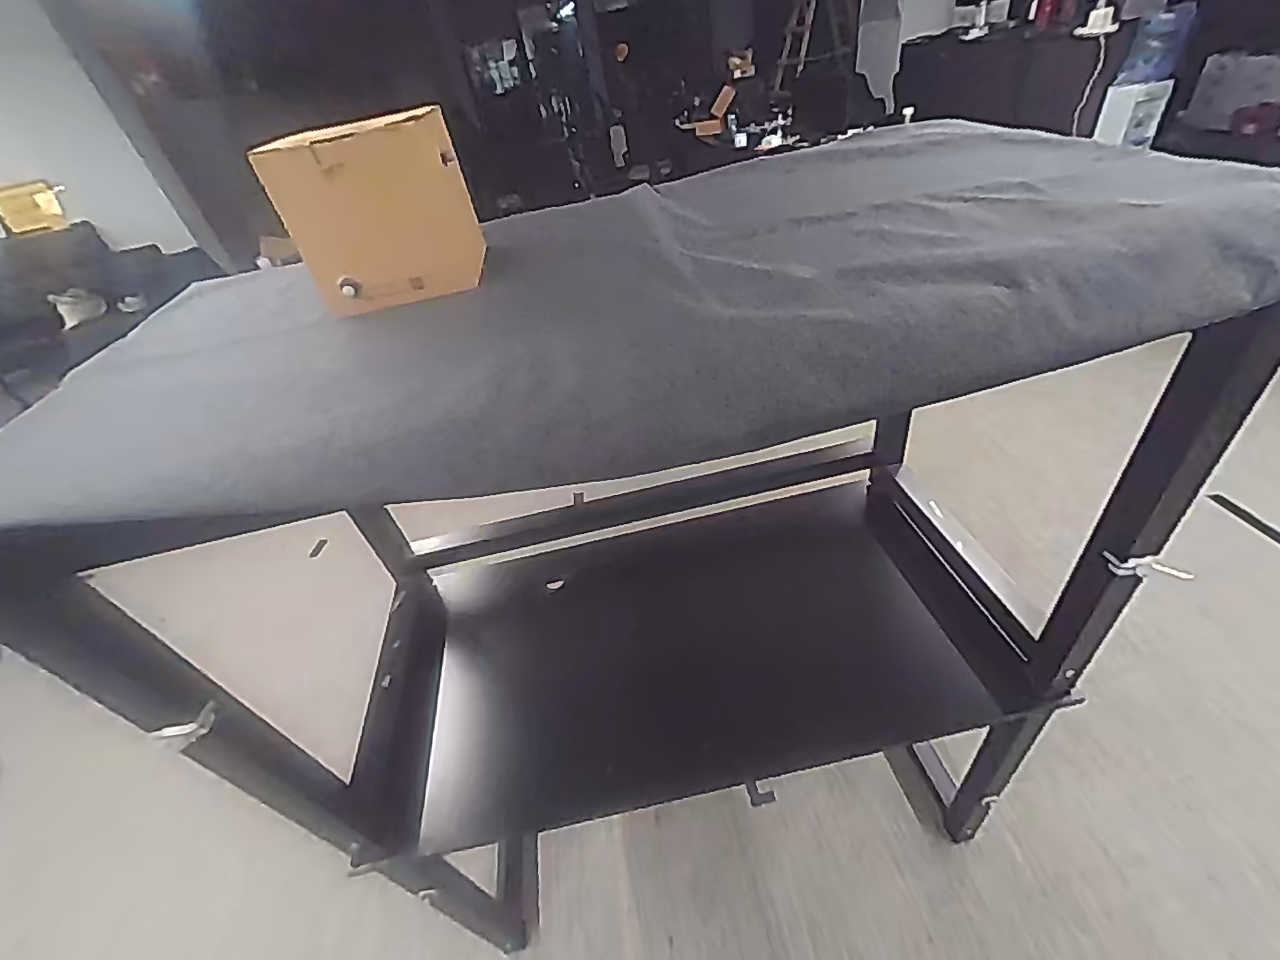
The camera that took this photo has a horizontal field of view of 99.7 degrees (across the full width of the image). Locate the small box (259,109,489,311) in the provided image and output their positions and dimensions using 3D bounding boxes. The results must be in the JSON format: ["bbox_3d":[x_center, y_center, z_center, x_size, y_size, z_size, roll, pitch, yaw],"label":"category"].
[{"bbox_3d":[-0.286,-0.311,0.632,0.168,0.176,0.179,-13,38,-1],"label":"small box"}]
